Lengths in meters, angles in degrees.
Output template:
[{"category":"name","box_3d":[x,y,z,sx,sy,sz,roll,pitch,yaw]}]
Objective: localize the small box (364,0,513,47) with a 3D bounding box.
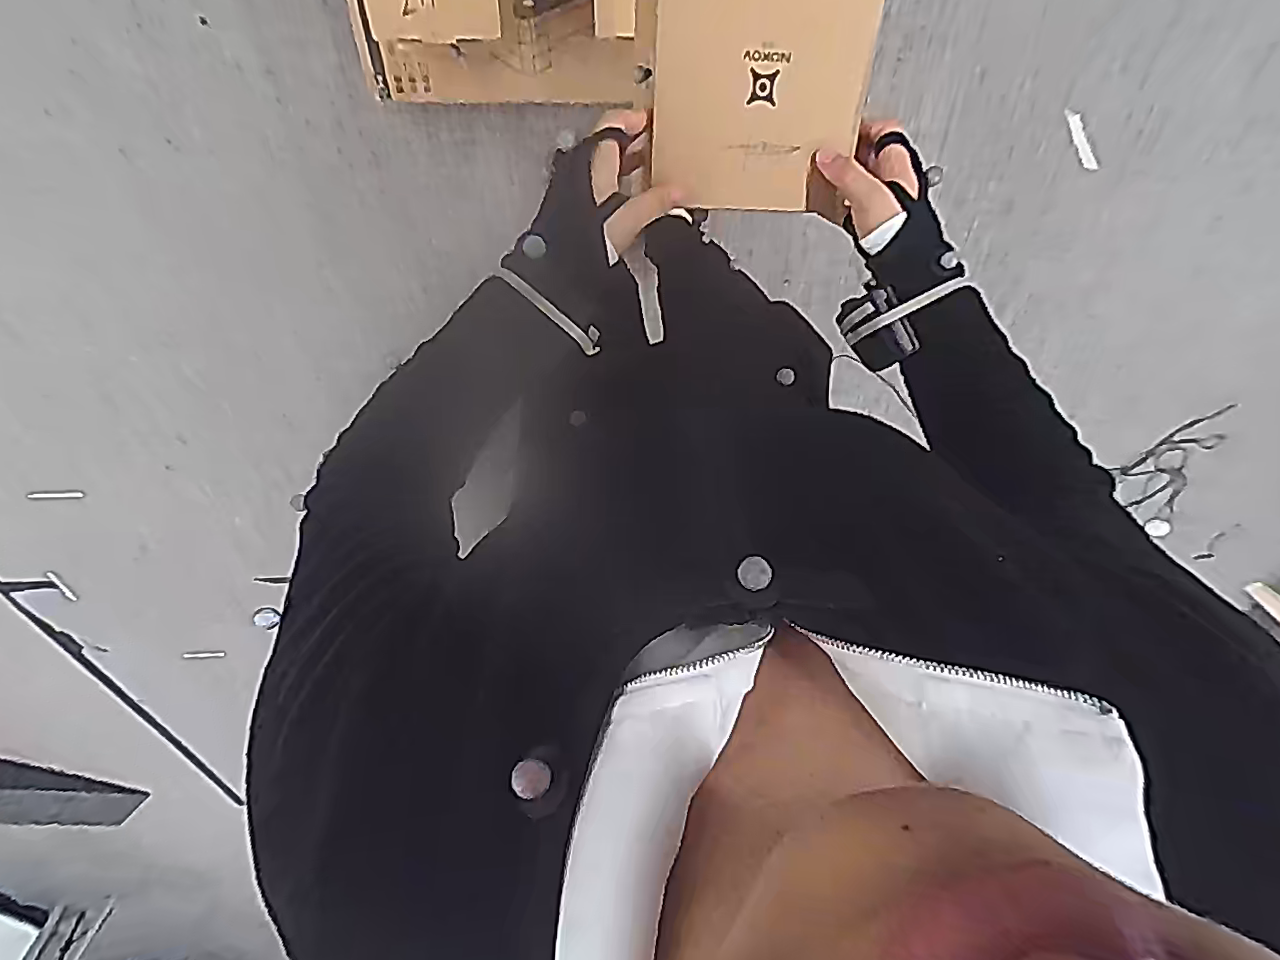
[{"category":"small box","box_3d":[-0.265,-0.682,0.705,0.168,0.176,0.179,-2,128,-3]}]

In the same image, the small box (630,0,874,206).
[{"category":"small box","box_3d":[0.079,-0.346,0.477,0.168,0.176,0.179,-2,121,-5]}]

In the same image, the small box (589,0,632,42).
[{"category":"small box","box_3d":[0.006,-0.800,0.847,0.168,0.176,0.179,0,128,-1]}]

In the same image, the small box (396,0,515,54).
[{"category":"small box","box_3d":[-0.296,-0.777,0.839,0.168,0.176,0.179,-3,129,-2]}]
